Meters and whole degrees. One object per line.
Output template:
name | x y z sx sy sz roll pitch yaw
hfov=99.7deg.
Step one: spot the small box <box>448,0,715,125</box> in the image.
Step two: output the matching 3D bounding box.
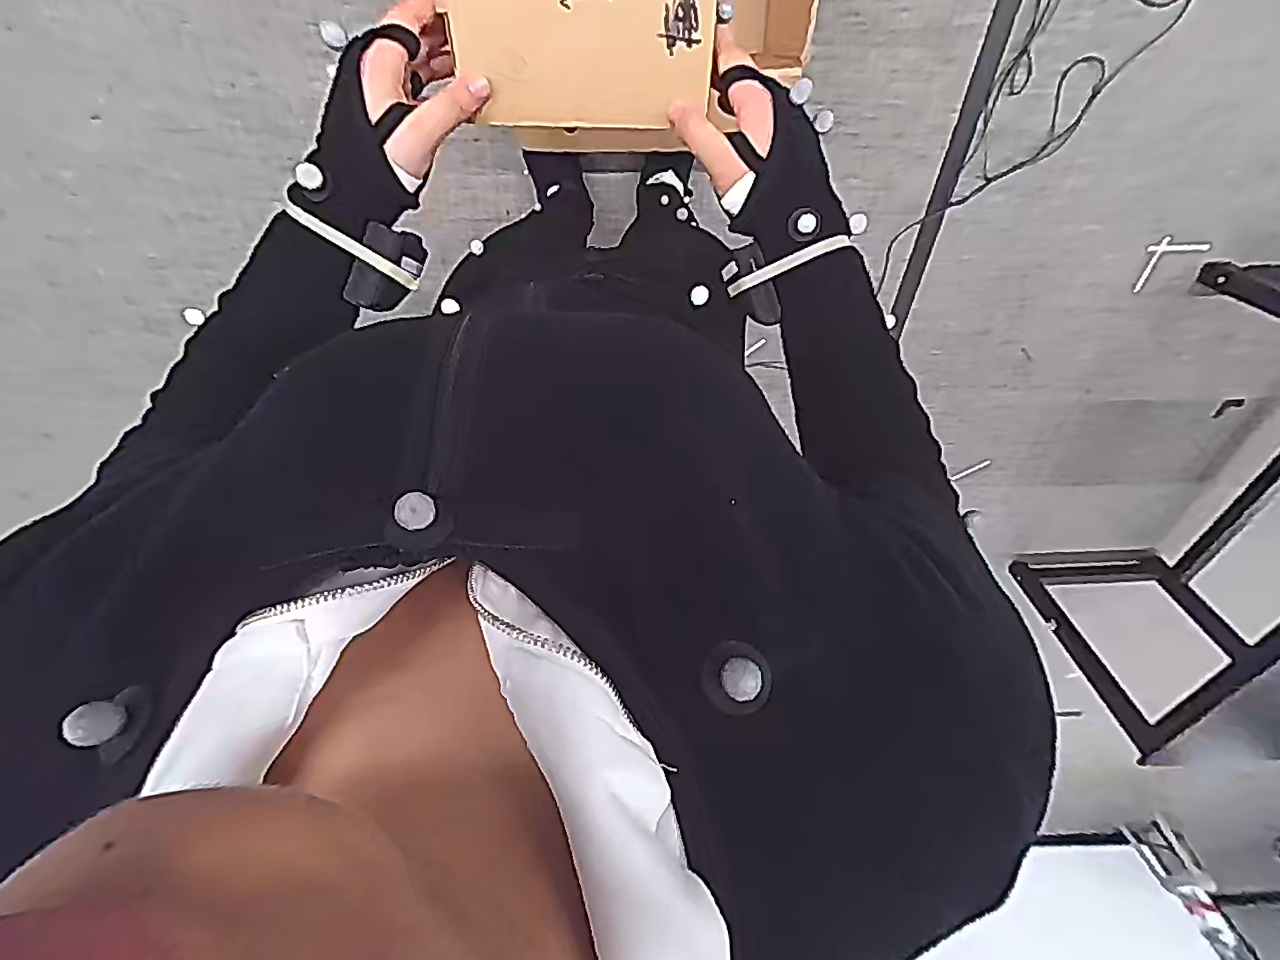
small box | -0.037 -0.373 0.400 0.179 0.176 0.168 1 131 -1
